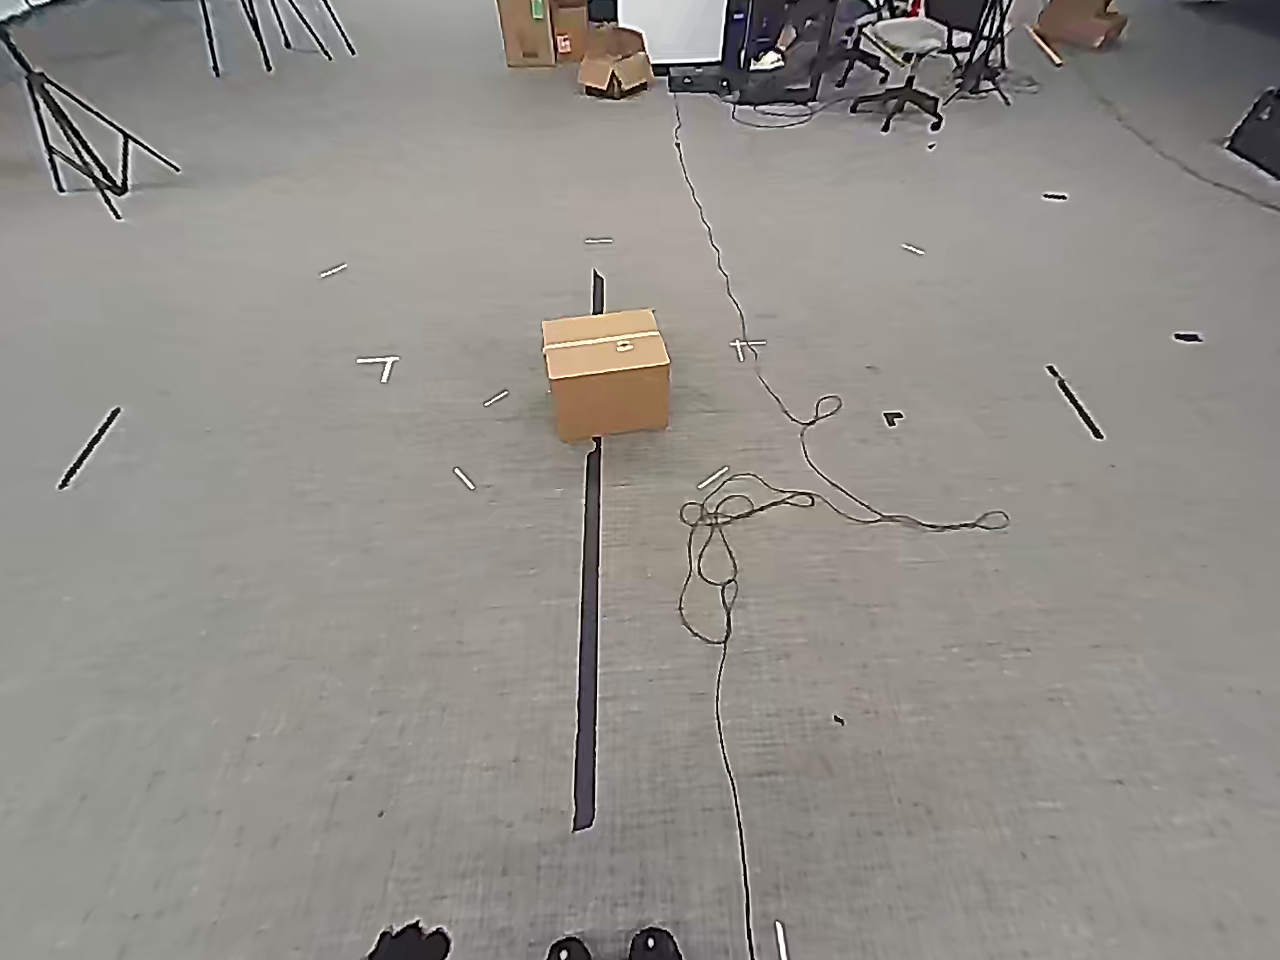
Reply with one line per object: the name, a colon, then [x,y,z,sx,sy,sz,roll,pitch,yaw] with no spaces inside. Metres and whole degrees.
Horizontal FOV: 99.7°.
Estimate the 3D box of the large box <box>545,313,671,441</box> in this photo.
large box: [-0.120,-0.374,1.983,0.408,0.320,0.320,-8,52,-7]
